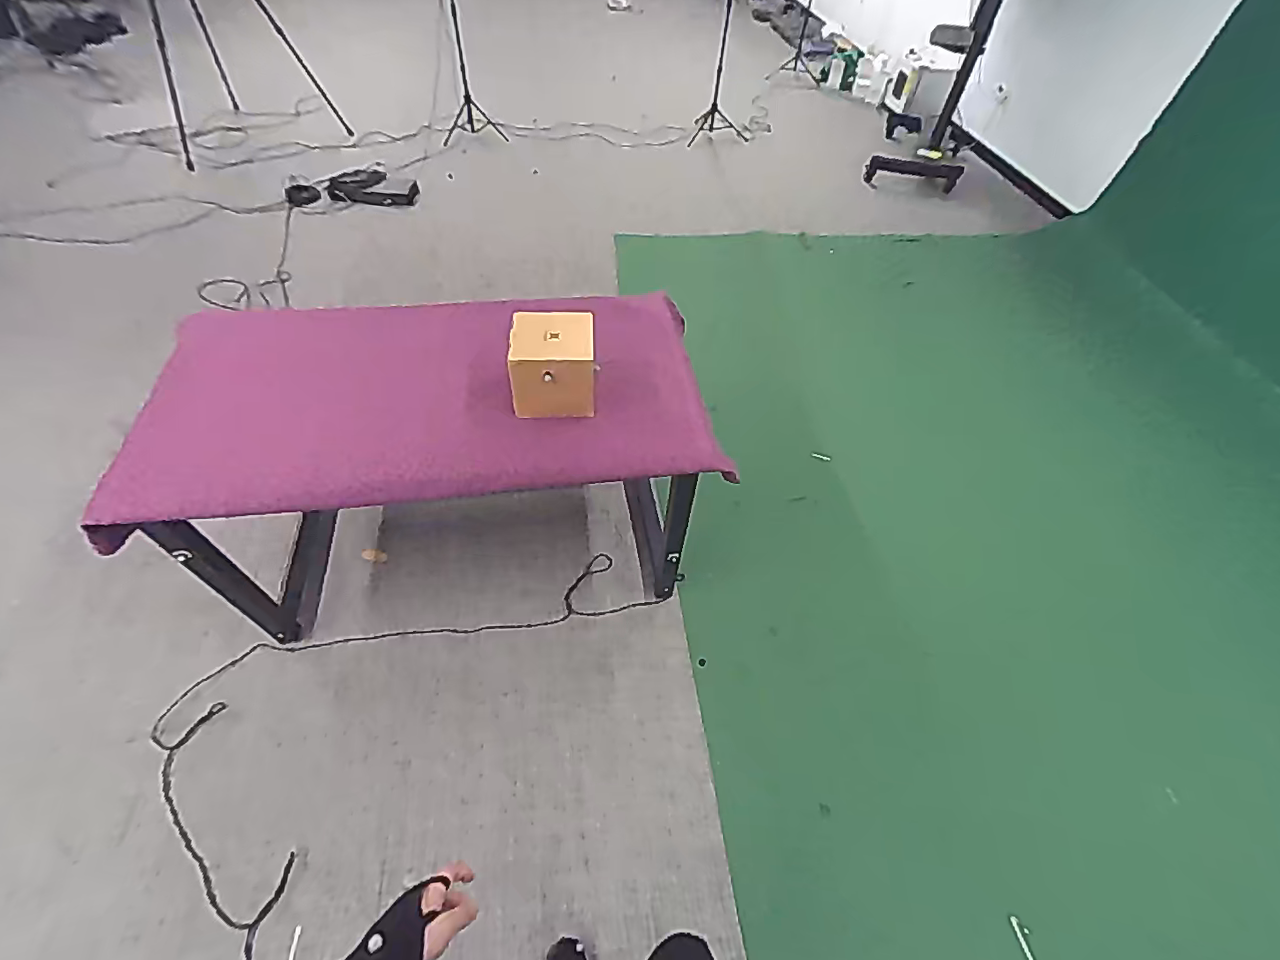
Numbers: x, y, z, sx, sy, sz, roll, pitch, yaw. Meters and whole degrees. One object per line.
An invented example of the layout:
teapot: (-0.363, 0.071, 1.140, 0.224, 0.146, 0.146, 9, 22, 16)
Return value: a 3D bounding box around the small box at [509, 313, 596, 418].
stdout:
small box: (-0.188, -0.250, 1.206, 0.179, 0.176, 0.168, -1, 52, -5)
